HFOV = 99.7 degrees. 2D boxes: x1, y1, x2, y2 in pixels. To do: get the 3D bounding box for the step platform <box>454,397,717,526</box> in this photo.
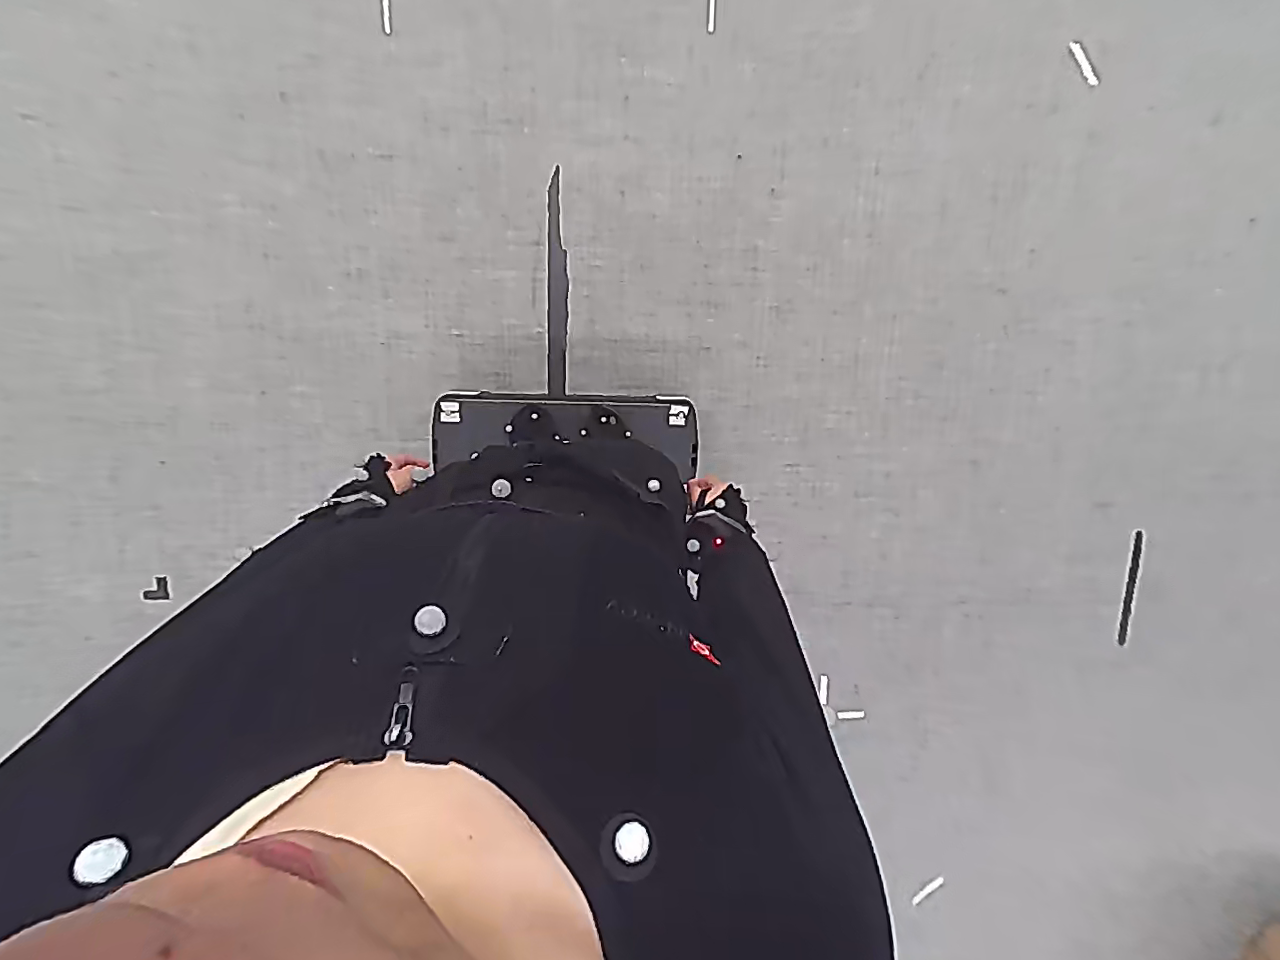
[{"bbox_3d":[-0.139,-0.050,1.450,0.684,0.204,0.286,5,99,-5],"label":"step platform"}]
